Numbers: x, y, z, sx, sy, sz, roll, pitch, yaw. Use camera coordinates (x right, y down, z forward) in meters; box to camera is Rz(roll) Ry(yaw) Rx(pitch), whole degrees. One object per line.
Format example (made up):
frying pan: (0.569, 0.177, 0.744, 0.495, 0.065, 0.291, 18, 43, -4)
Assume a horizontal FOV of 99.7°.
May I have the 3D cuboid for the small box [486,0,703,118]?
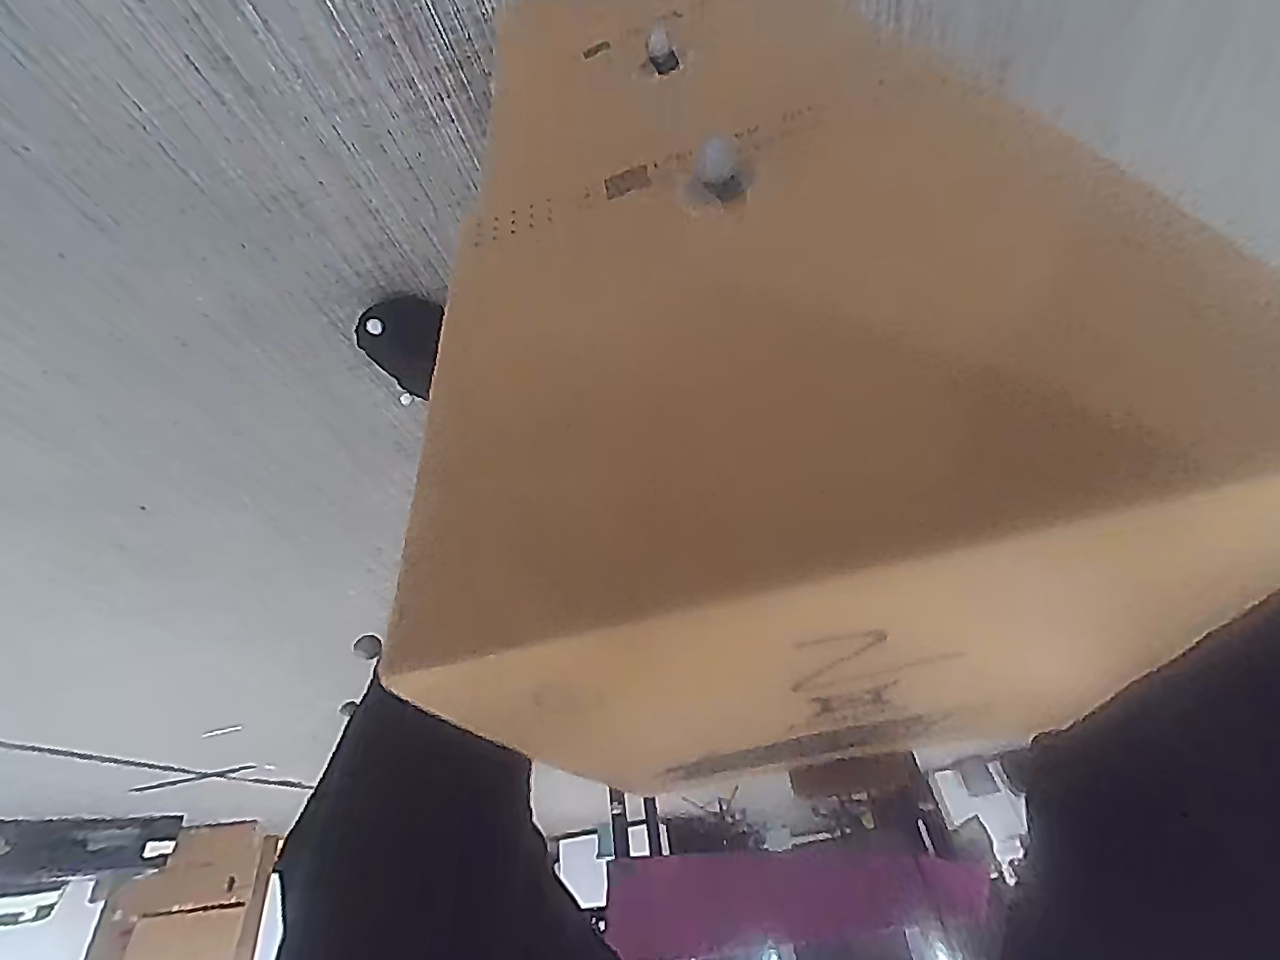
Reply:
small box: (0.004, -0.256, 0.404, 0.168, 0.176, 0.179, -17, 142, 9)
